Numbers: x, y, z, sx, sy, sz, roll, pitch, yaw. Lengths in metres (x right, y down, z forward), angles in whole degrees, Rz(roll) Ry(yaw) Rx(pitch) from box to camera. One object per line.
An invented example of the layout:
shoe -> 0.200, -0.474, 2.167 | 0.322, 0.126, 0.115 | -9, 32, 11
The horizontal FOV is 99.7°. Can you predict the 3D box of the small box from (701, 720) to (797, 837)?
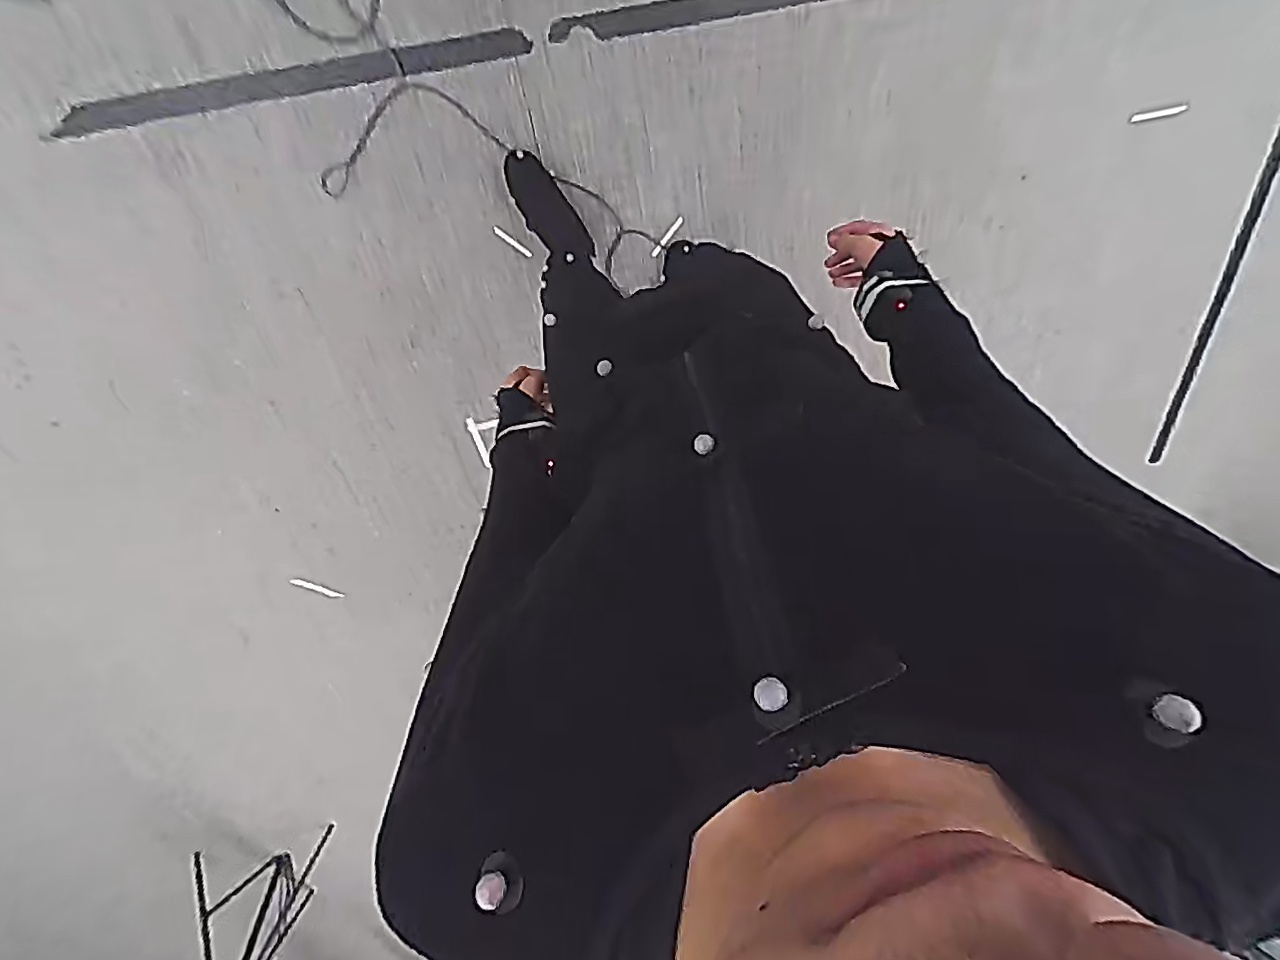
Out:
small box -> 0.252, 0.689, 1.267 | 0.168, 0.176, 0.179 | -16, 123, 0
